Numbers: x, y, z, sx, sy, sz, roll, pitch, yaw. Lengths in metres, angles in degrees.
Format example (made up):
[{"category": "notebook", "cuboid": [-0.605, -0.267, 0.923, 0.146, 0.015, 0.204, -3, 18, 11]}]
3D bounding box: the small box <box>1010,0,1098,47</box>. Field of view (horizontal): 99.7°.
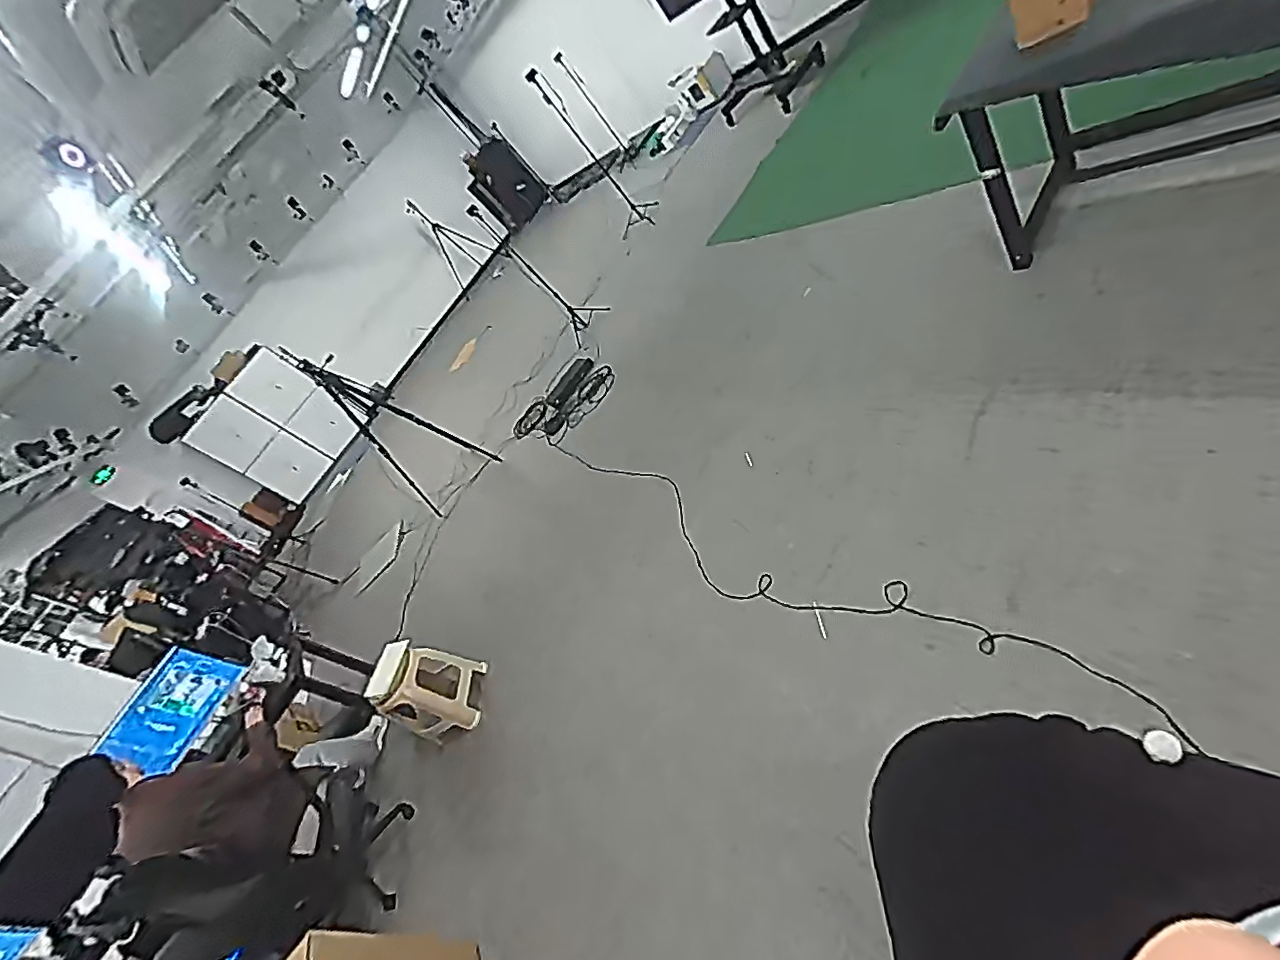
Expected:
[{"category": "small box", "cuboid": [1.170, -1.372, 1.519, 0.168, 0.176, 0.179, 5, 59, 49]}]
